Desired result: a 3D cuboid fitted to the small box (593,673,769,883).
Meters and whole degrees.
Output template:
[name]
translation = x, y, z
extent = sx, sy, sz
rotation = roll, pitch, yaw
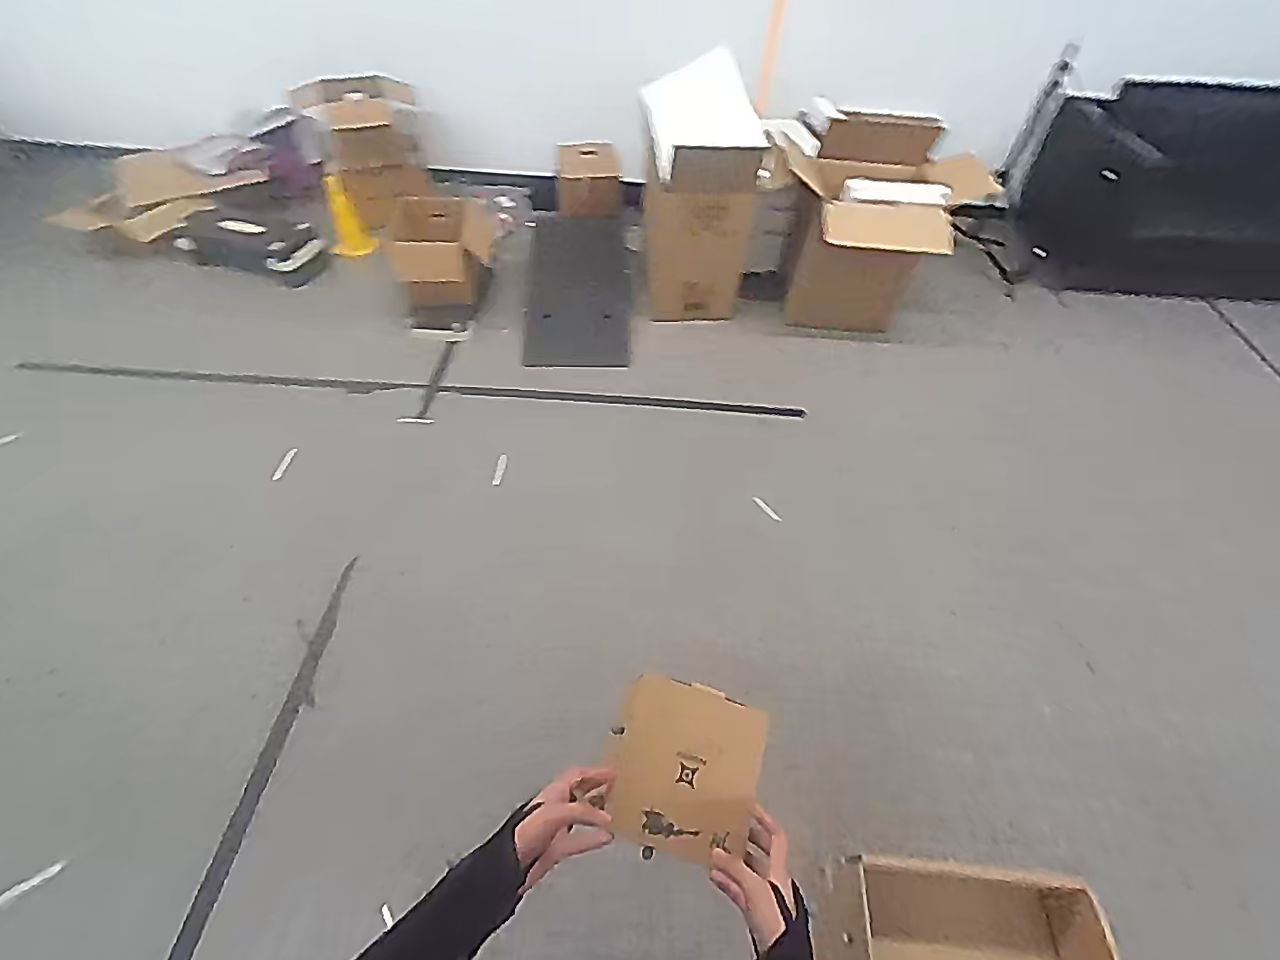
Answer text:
[small box]
translation = 0.044, 0.368, 0.690
extent = 0.168, 0.176, 0.179
rotation = 20, 63, 1
